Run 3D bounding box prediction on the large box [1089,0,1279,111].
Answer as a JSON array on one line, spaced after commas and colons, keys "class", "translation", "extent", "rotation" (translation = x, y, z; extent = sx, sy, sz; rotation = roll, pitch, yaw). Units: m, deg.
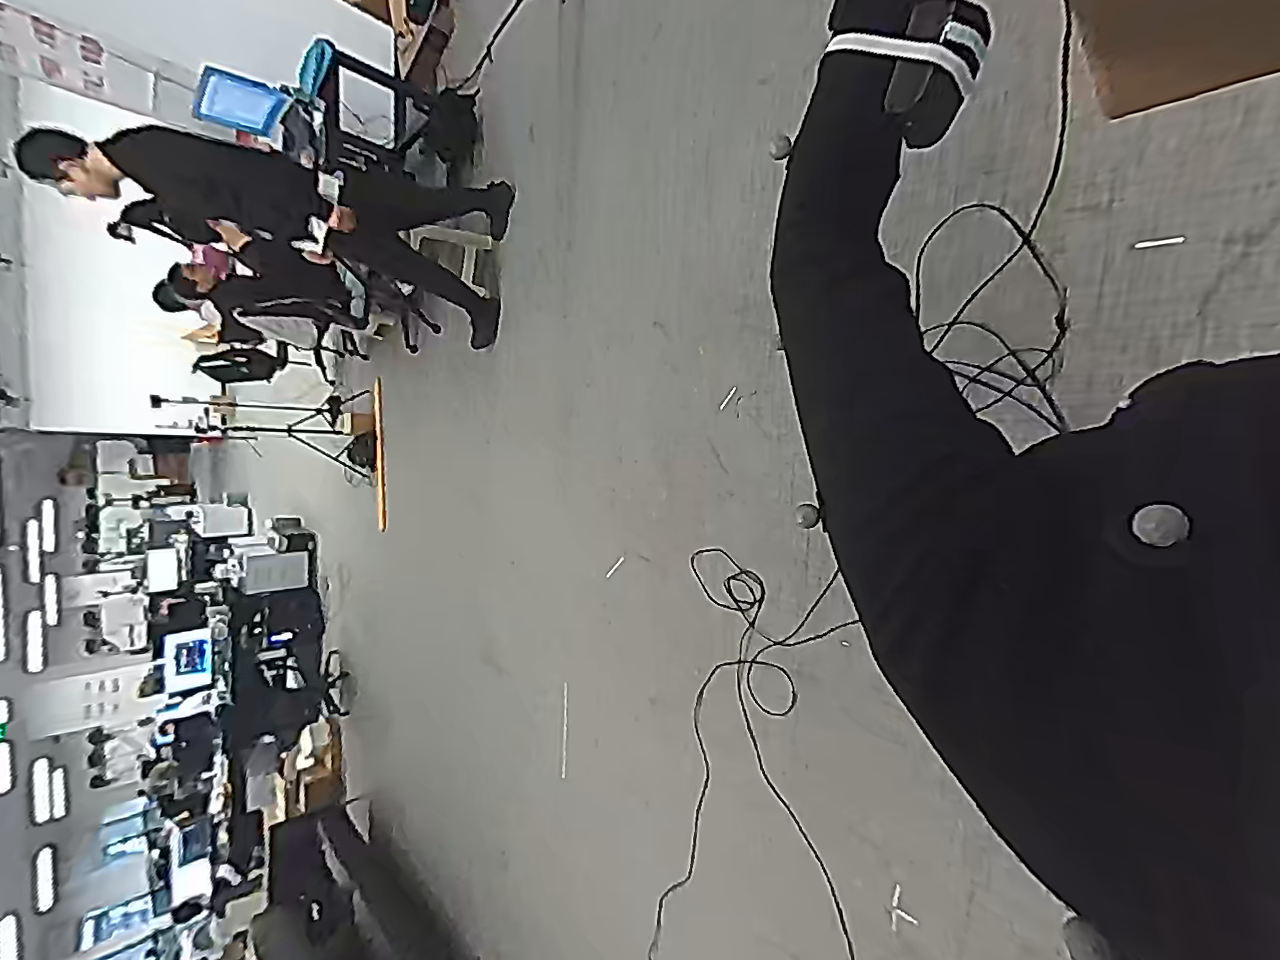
[{"class": "large box", "translation": [0.473, -0.463, 0.246], "extent": [0.408, 0.320, 0.320], "rotation": [7, 99, 43]}]
